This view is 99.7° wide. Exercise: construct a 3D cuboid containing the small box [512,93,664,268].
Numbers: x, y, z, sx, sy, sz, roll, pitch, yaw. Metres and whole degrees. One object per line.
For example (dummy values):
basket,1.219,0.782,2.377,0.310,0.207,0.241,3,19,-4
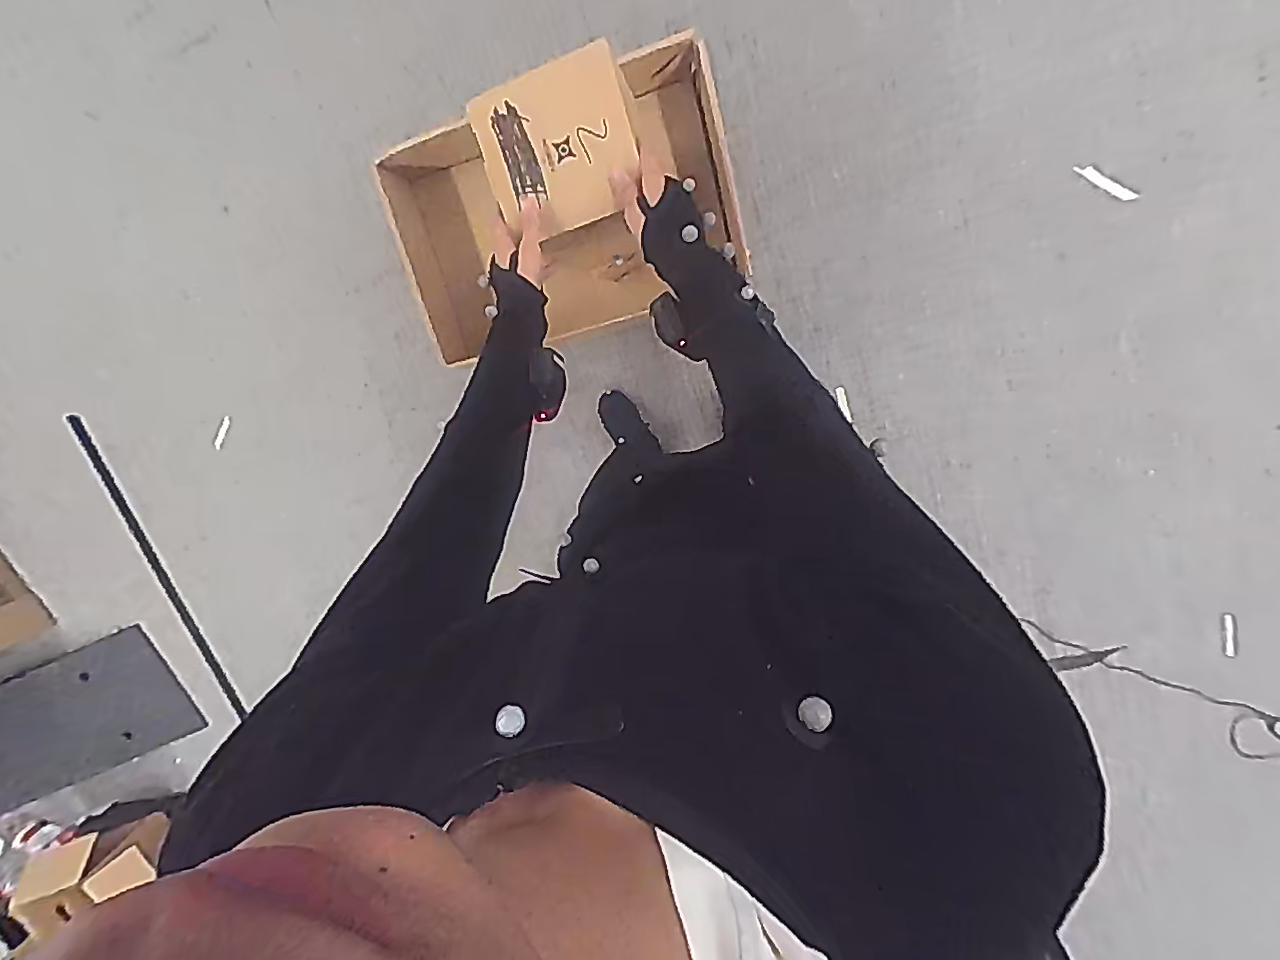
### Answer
small box,-0.069,-0.445,0.836,0.168,0.176,0.179,-14,105,15
